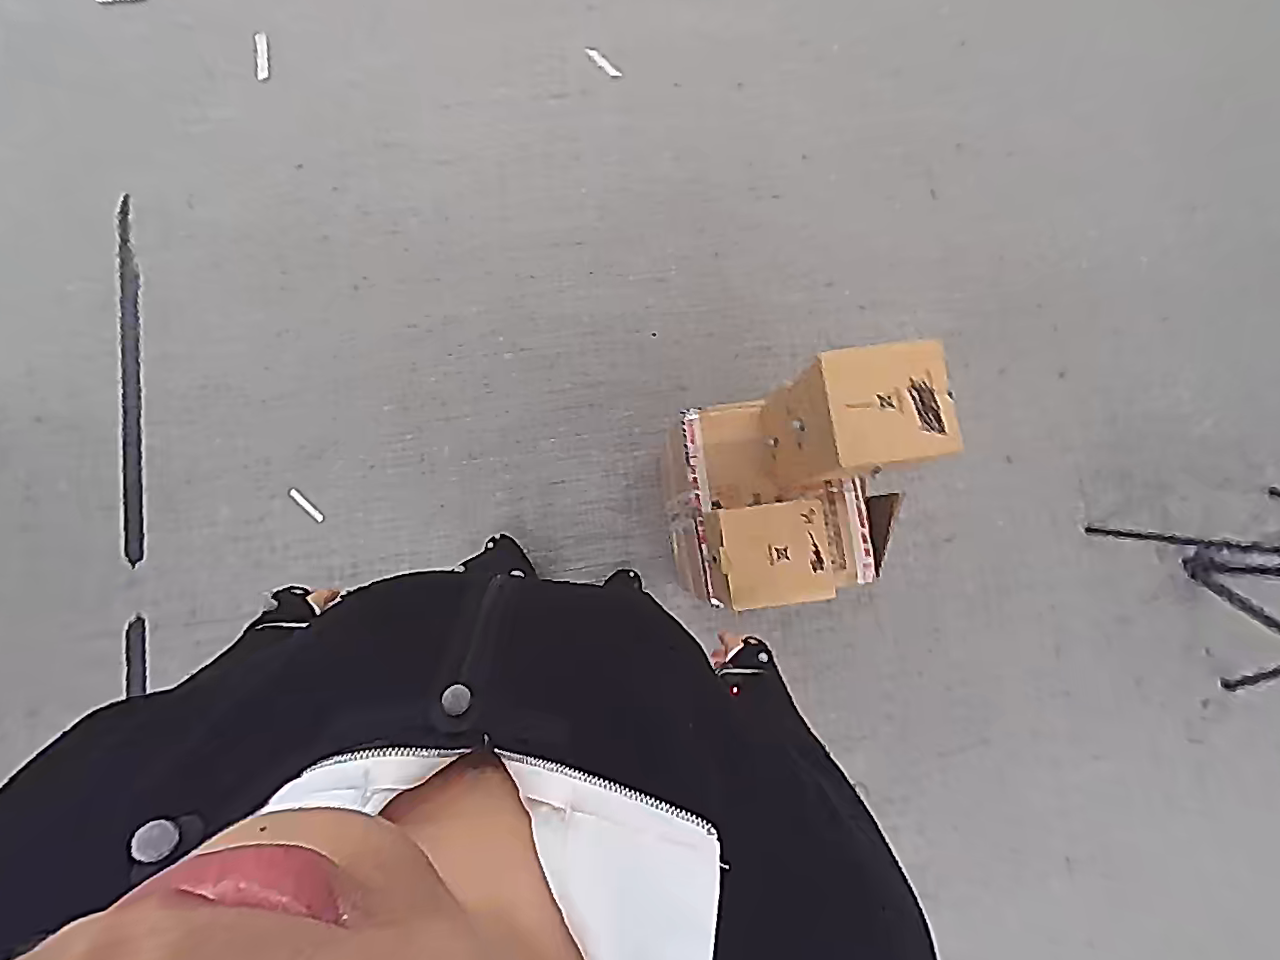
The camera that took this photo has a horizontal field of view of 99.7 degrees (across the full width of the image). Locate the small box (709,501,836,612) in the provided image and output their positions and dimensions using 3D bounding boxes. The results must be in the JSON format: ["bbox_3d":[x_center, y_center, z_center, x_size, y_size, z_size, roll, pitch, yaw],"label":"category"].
[{"bbox_3d":[0.221,0.132,0.954,0.179,0.176,0.168,-7,85,-1],"label":"small box"}]

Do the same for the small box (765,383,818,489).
[{"bbox_3d":[0.344,-0.084,0.982,0.179,0.176,0.168,-11,82,-2],"label":"small box"}]

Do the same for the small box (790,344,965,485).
[{"bbox_3d":[0.345,-0.090,0.817,0.179,0.176,0.168,-7,82,-1],"label":"small box"}]
